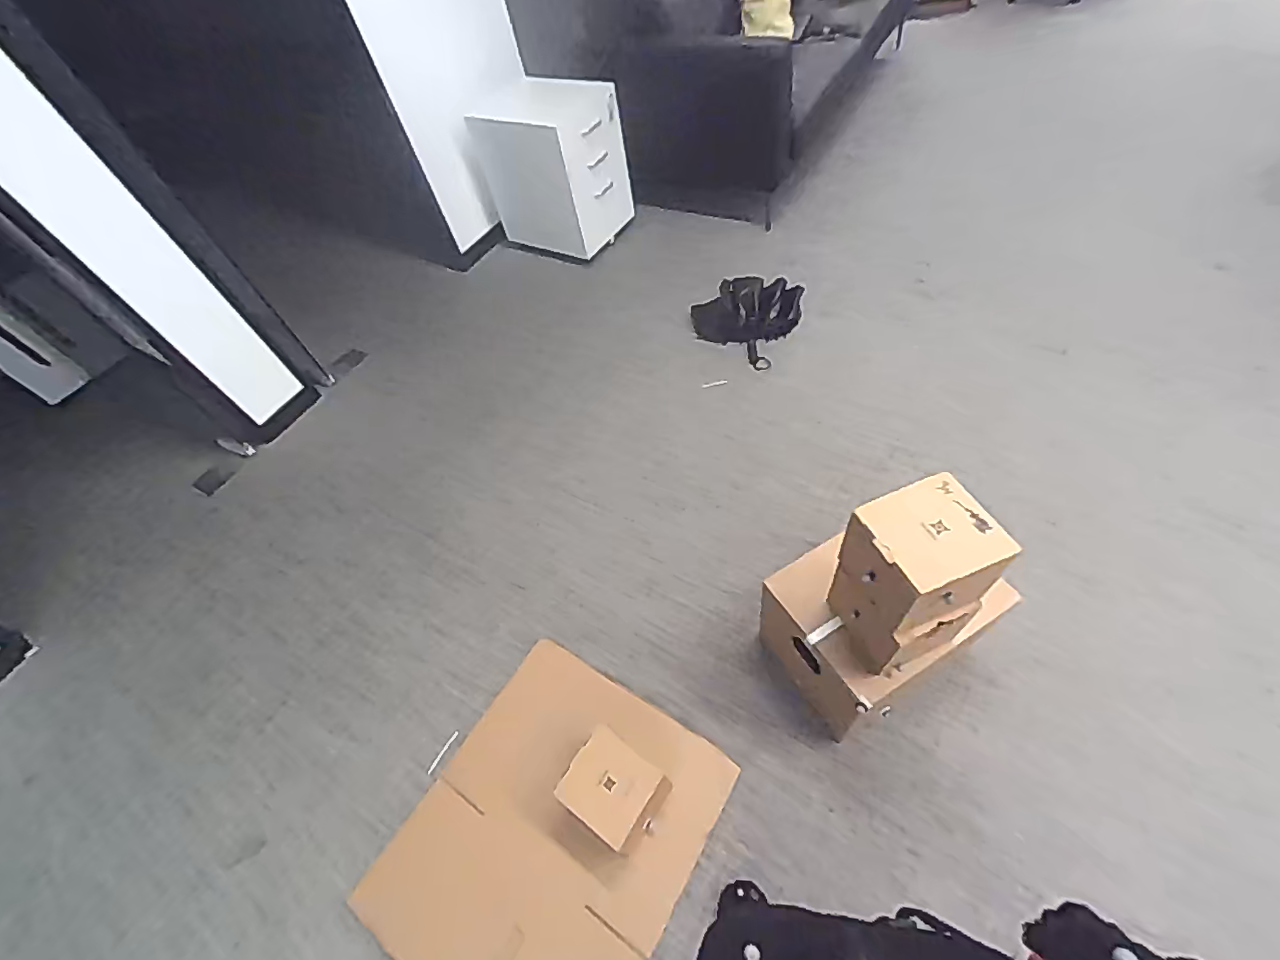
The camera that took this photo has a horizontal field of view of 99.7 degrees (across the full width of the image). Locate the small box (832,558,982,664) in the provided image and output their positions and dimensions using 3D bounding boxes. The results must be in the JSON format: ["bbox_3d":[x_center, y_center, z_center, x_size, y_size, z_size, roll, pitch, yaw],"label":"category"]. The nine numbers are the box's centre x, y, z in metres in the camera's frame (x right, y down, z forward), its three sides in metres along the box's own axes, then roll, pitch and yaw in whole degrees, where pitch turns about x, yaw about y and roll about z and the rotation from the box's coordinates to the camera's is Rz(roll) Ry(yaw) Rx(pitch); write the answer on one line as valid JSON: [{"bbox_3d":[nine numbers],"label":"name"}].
[{"bbox_3d":[0.483,0.225,1.011,0.168,0.176,0.179,-23,53,-6],"label":"small box"}]

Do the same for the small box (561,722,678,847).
[{"bbox_3d":[-0.037,0.660,1.165,0.179,0.176,0.168,26,64,26],"label":"small box"}]

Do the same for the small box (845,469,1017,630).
[{"bbox_3d":[0.460,0.120,0.891,0.179,0.176,0.168,-24,52,-8],"label":"small box"}]
